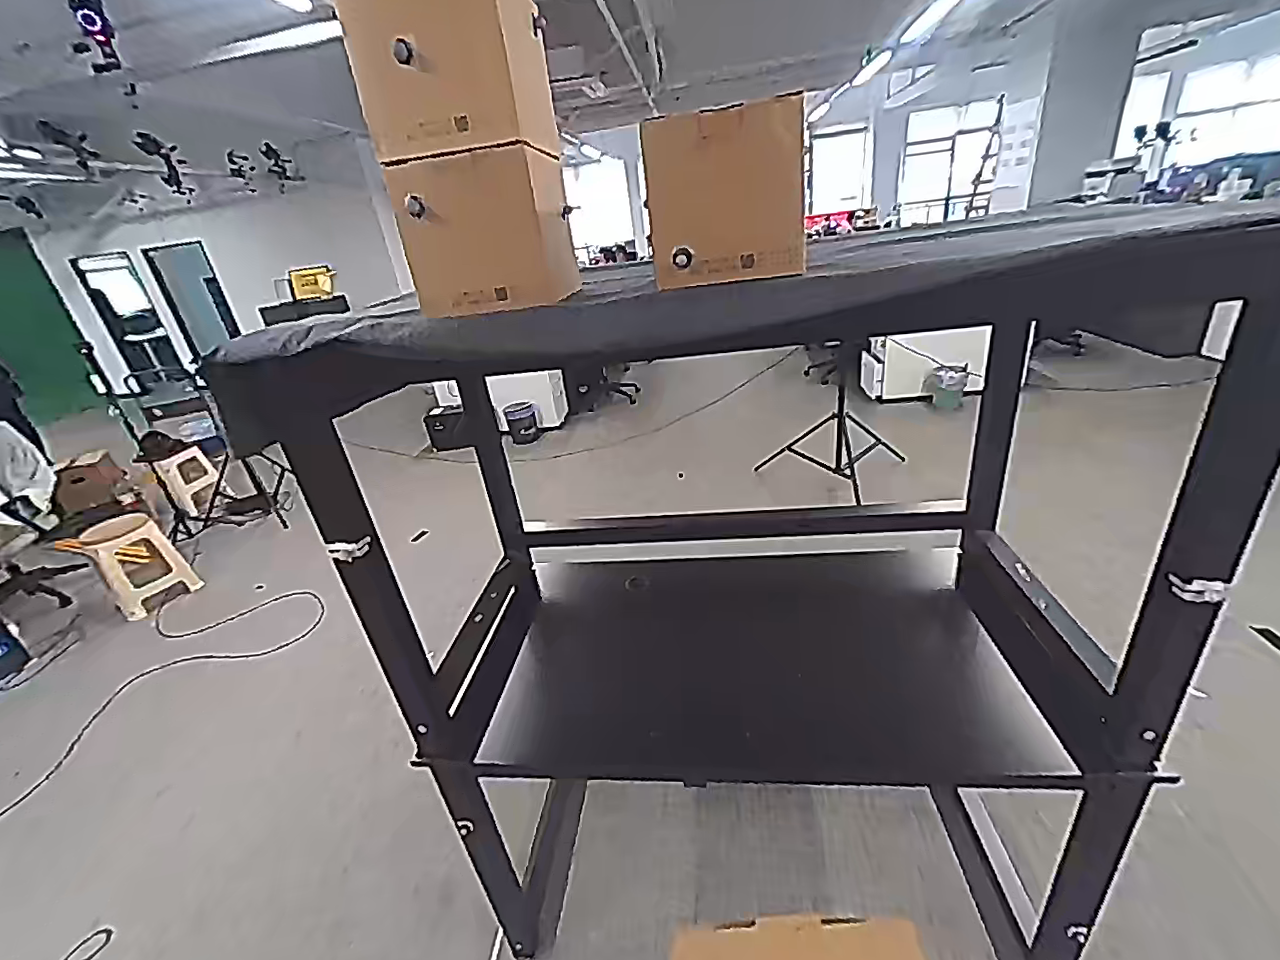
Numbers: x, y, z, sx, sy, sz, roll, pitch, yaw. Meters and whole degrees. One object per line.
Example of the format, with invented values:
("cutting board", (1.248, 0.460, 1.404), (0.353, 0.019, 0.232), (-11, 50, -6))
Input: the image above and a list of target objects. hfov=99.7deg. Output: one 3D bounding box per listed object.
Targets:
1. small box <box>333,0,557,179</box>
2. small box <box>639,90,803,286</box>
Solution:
("small box", (-0.203, -0.456, 0.618), (0.168, 0.176, 0.179), (-4, 24, 9))
("small box", (0.100, -0.330, 0.642), (0.168, 0.176, 0.179), (-3, 24, 10))
